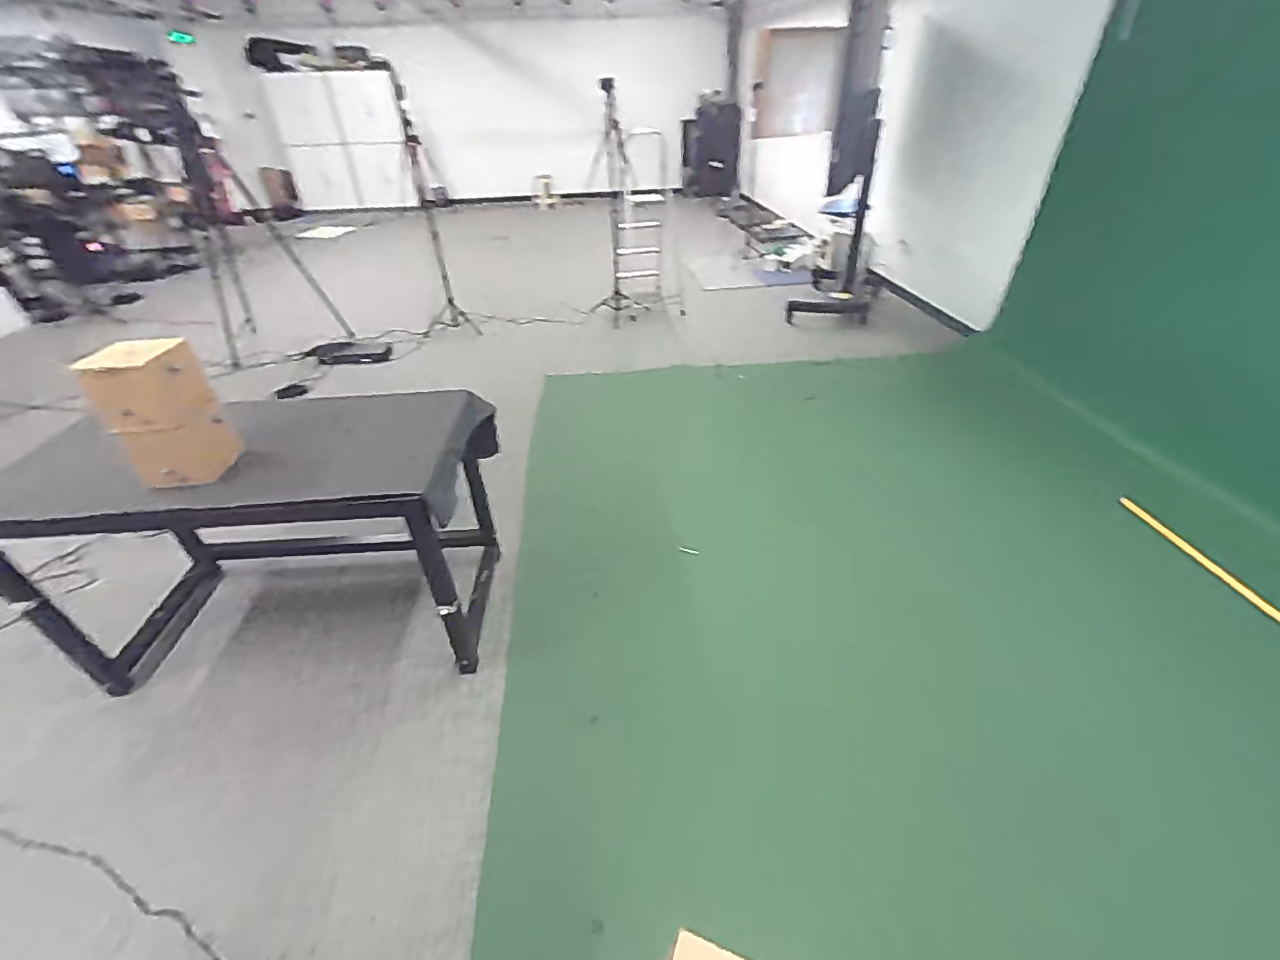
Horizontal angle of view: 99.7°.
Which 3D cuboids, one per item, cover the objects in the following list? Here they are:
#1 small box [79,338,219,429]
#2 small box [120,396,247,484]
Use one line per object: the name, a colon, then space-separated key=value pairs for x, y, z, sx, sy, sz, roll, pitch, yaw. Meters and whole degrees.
small box: x=-1.191 y=-0.239 z=1.334 sx=0.168 sy=0.176 sz=0.179 roll=-4 pitch=35 yaw=-3
small box: x=-1.187 y=-0.107 z=1.428 sx=0.168 sy=0.176 sz=0.179 roll=-4 pitch=35 yaw=-2
